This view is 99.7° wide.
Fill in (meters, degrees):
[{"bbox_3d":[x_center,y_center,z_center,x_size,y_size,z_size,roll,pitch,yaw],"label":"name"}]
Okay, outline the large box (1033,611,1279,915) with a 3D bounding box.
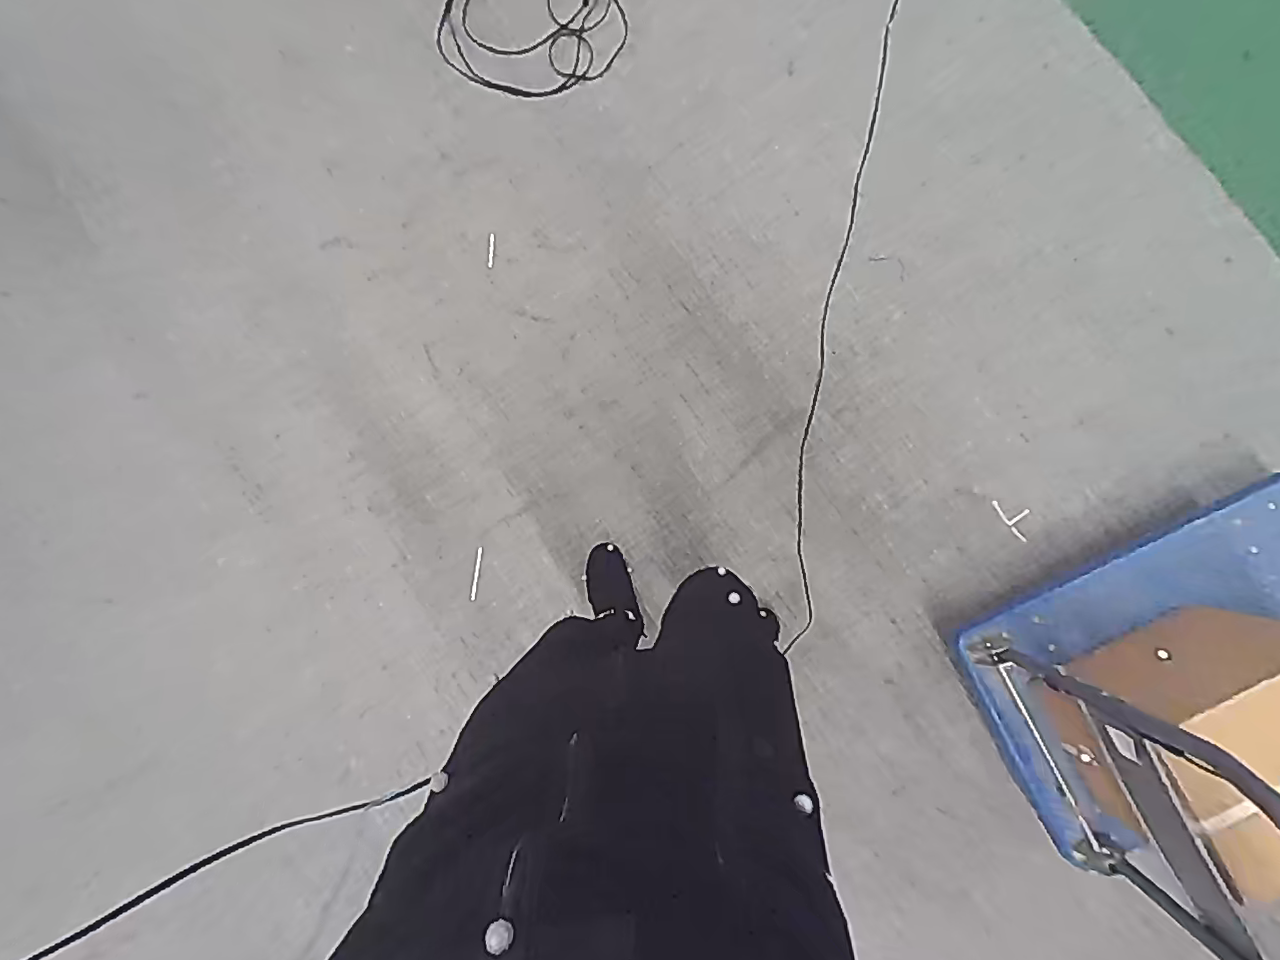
[{"bbox_3d":[1.101,0.498,1.039,0.408,0.320,0.320,-27,86,0],"label":"large box"}]
